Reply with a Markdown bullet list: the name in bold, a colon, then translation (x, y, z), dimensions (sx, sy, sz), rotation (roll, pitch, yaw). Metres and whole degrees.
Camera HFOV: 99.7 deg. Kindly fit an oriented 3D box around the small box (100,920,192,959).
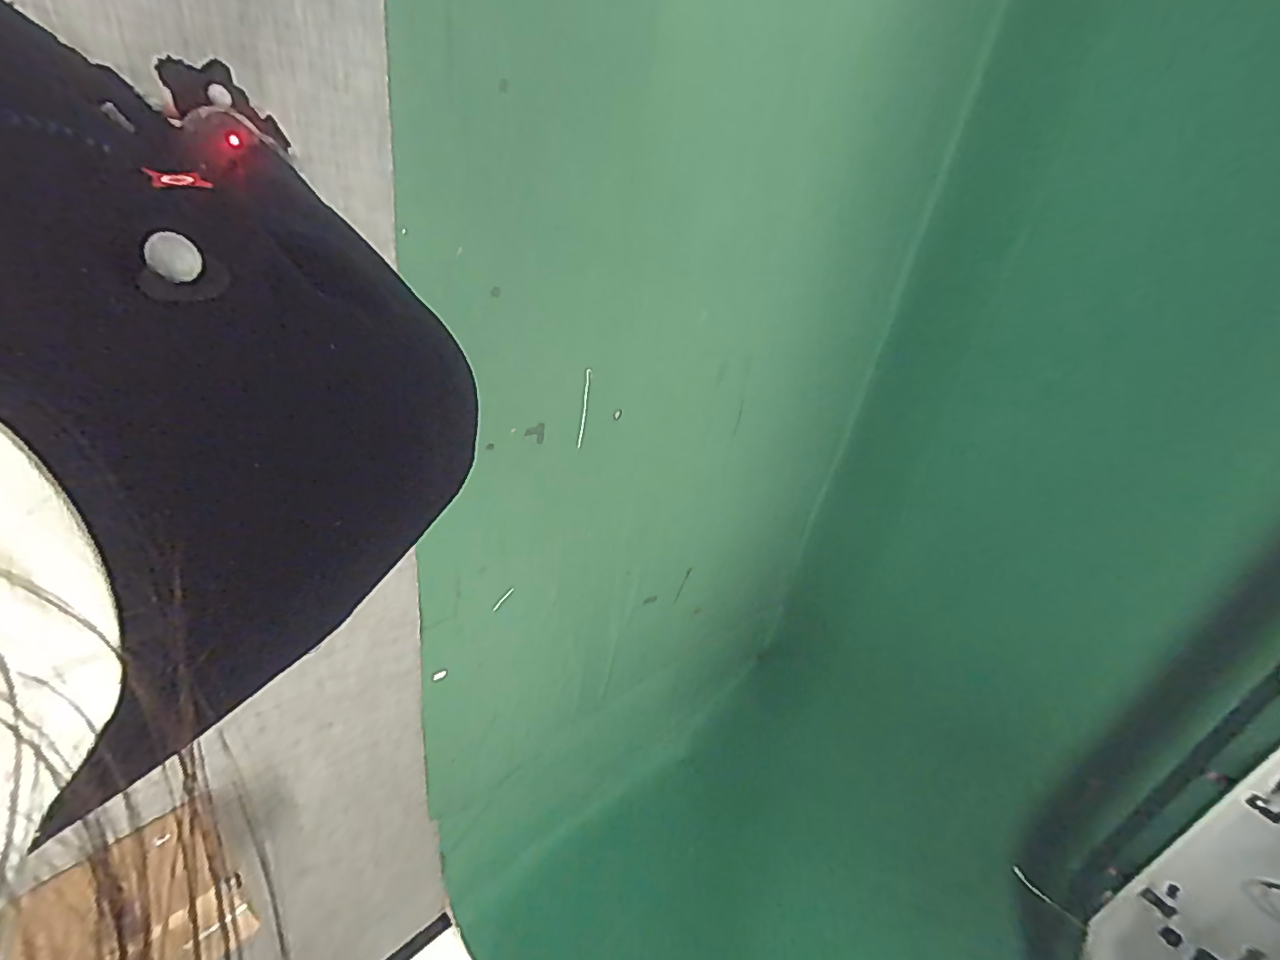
- **small box**: translation (-1.231, 1.254, 1.336), dimensions (0.179, 0.176, 0.168), rotation (-21, 130, -38)
